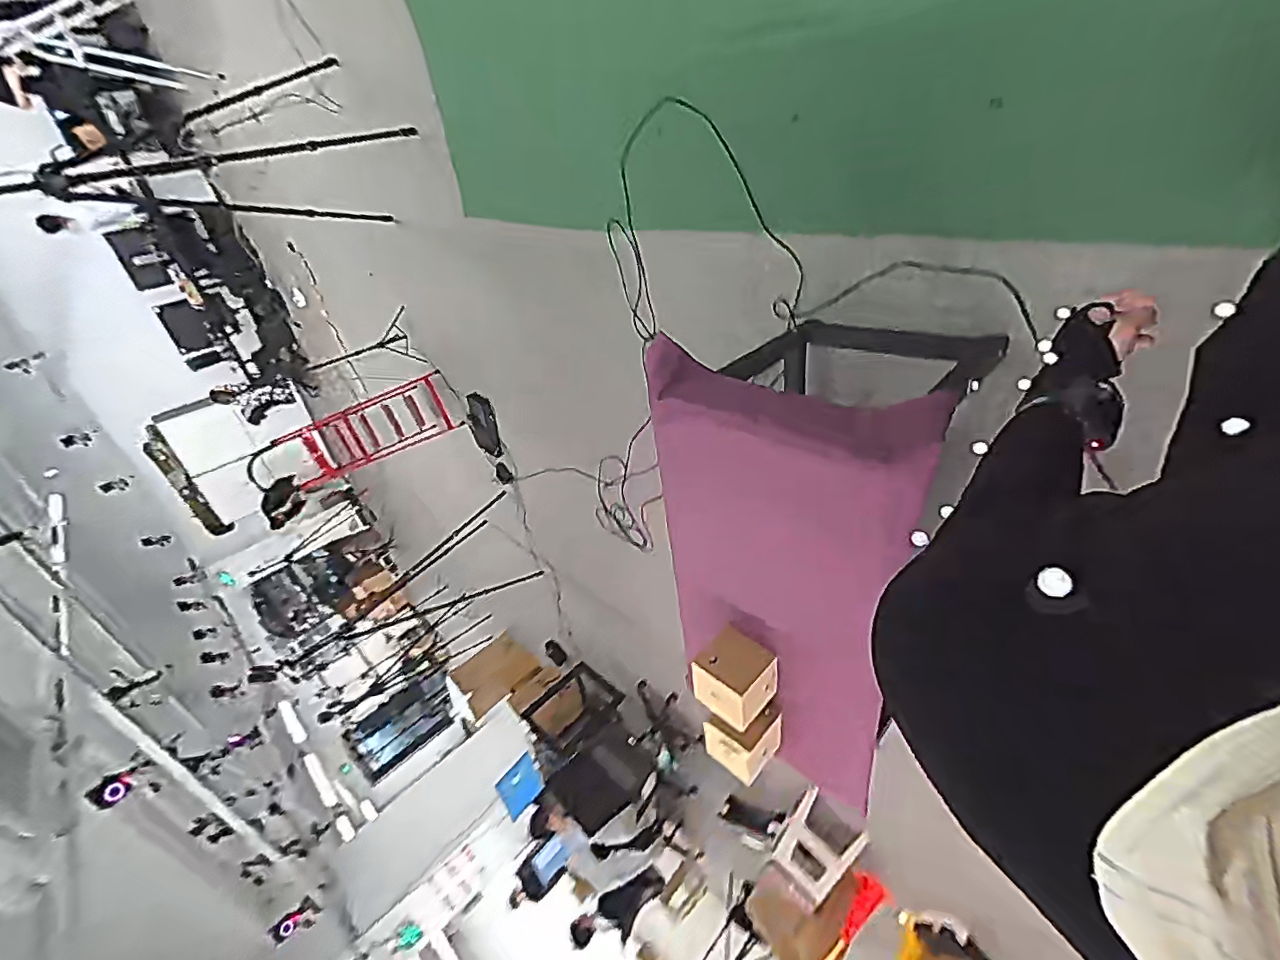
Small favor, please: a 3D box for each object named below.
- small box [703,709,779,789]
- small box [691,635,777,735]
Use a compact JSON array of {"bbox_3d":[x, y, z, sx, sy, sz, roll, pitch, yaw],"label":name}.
[{"bbox_3d":[0.311,0.790,1.658,0.168,0.176,0.179,24,136,40],"label":"small box"},{"bbox_3d":[0.265,0.570,1.534,0.179,0.176,0.168,24,135,39],"label":"small box"}]
